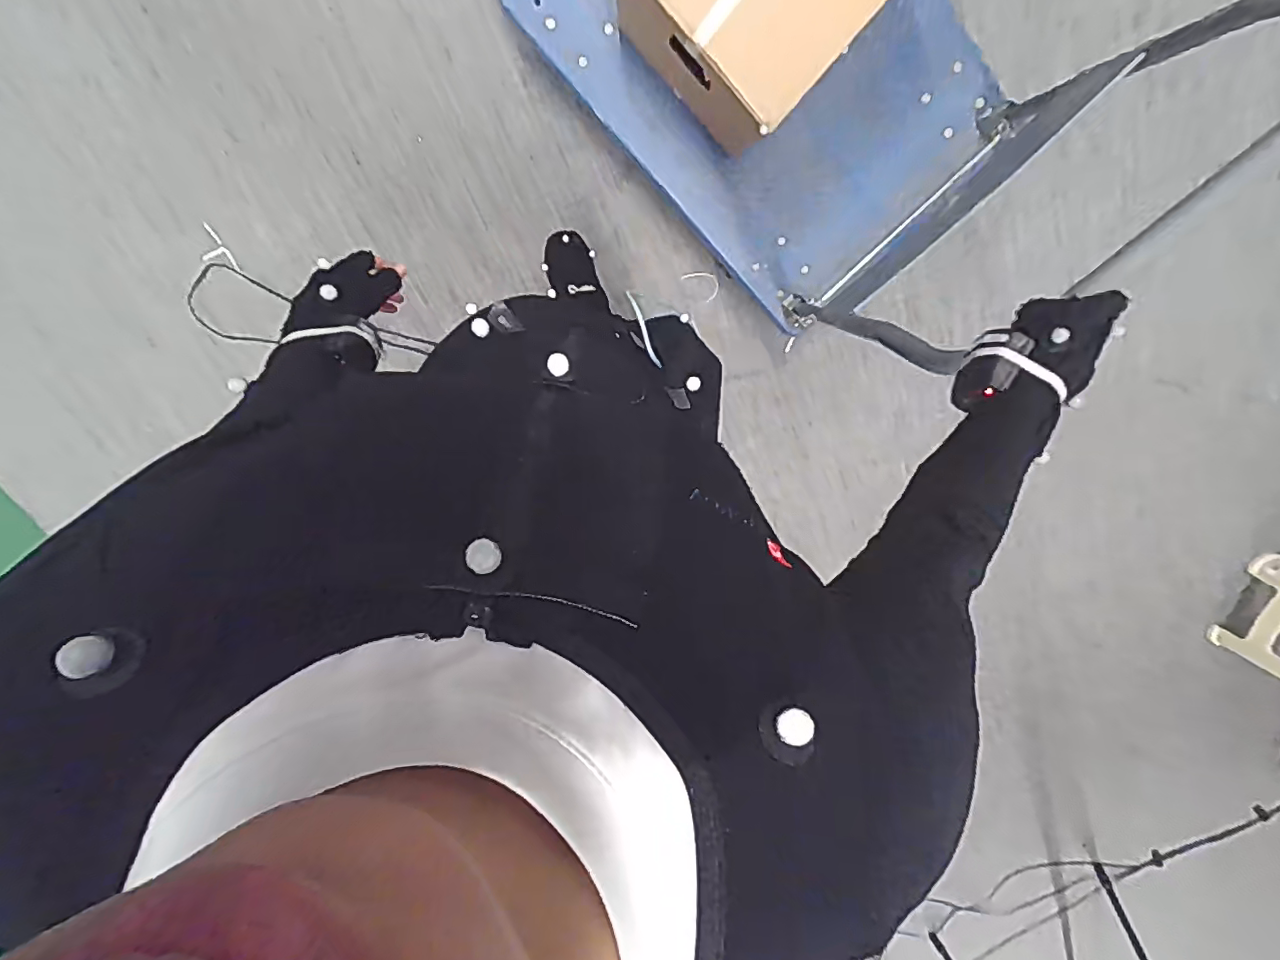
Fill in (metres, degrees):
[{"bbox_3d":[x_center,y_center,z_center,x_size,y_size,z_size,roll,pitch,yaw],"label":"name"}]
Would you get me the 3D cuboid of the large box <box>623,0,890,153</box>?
[{"bbox_3d":[0.214,-0.798,0.826,0.320,0.320,0.408,40,109,-16],"label":"large box"}]
